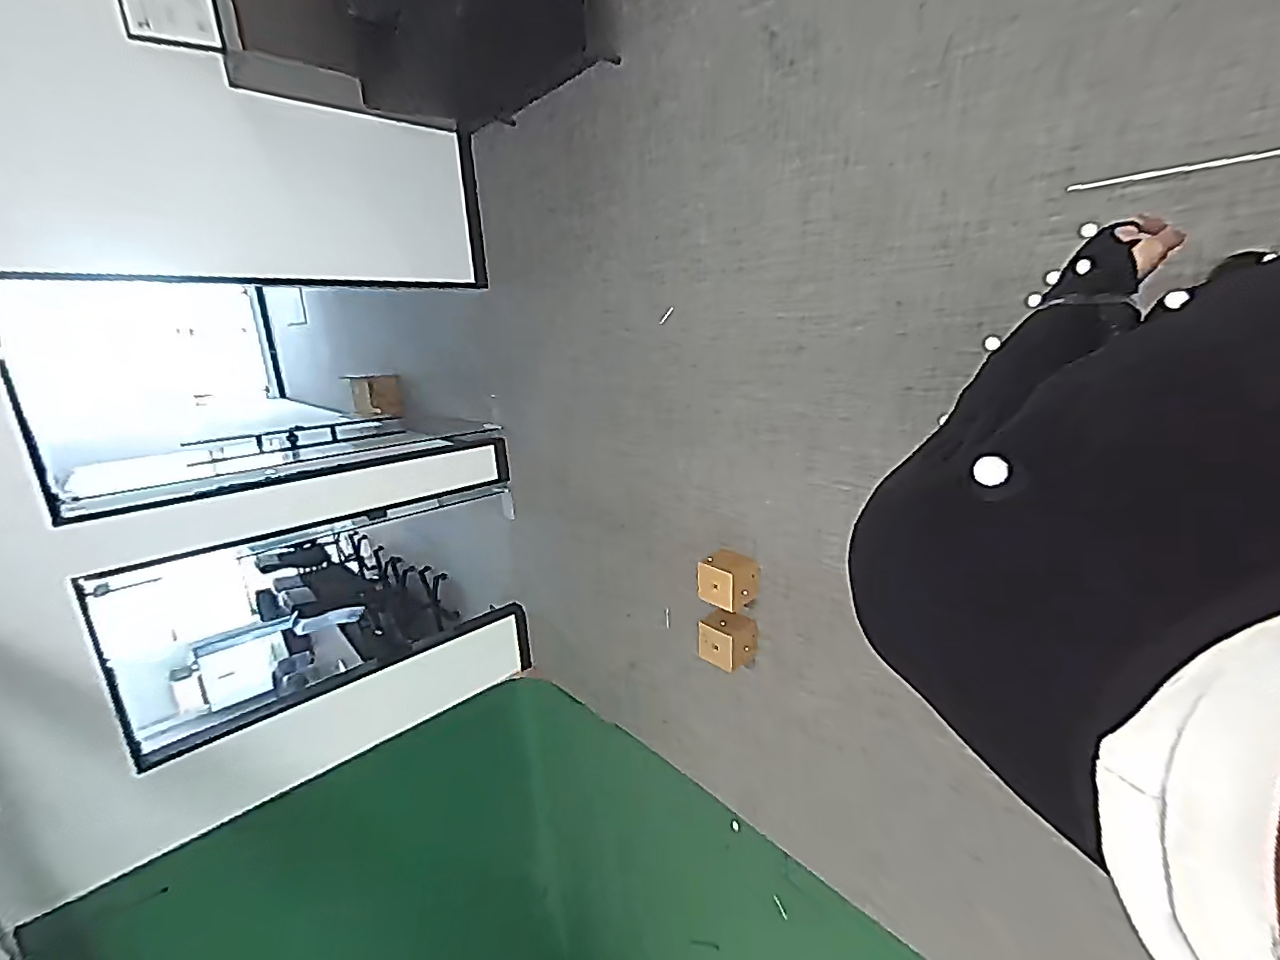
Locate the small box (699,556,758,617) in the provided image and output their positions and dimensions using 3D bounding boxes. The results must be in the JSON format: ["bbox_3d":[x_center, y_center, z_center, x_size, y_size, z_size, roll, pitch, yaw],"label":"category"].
[{"bbox_3d":[0.358,0.418,2.169,0.179,0.176,0.168,14,112,46],"label":"small box"}]

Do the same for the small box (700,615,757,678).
[{"bbox_3d":[0.369,0.678,2.233,0.179,0.176,0.168,14,111,46],"label":"small box"}]
